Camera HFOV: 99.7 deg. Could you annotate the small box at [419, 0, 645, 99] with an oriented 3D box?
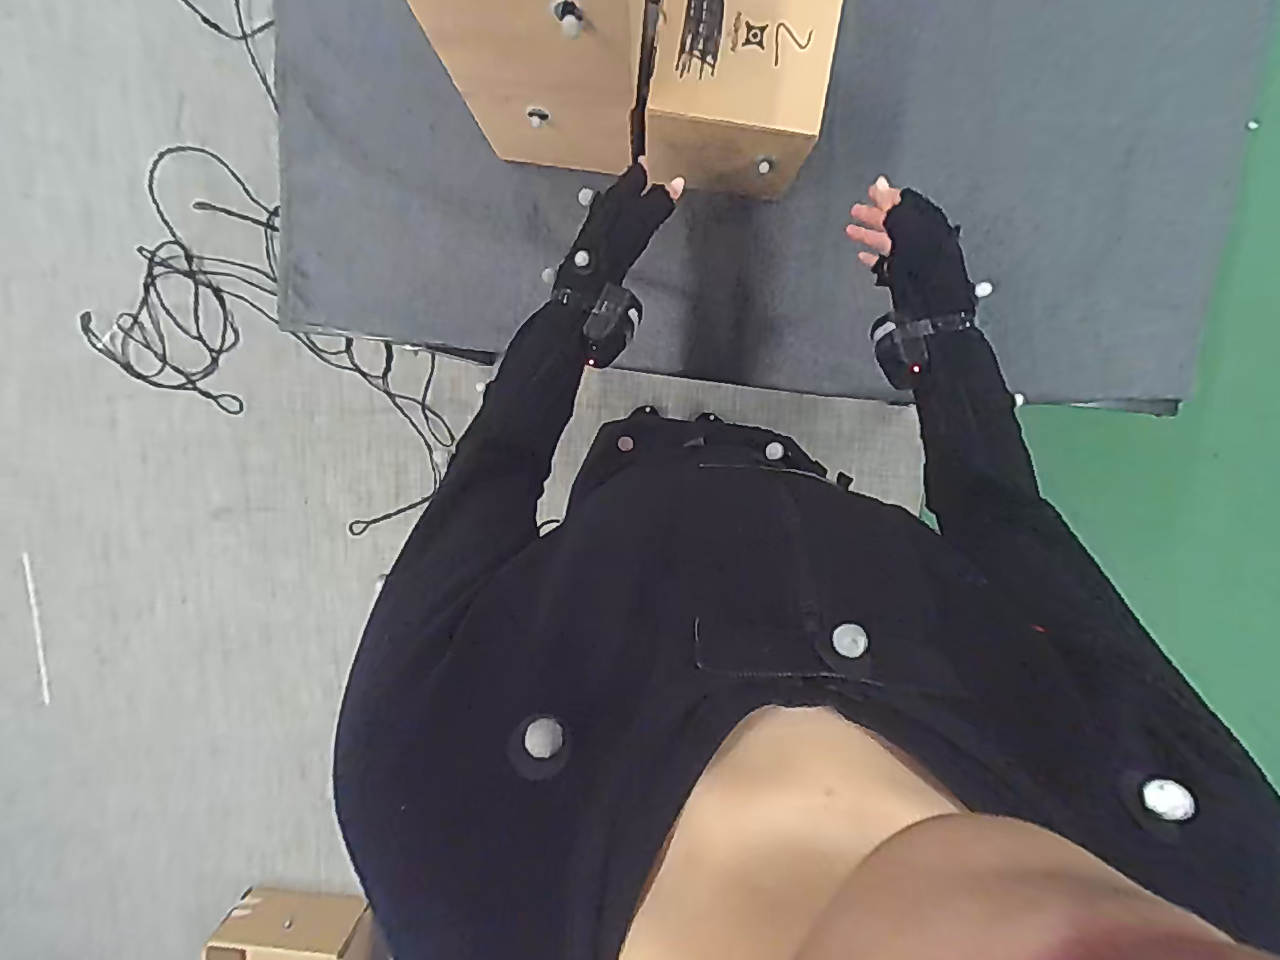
[{"bbox_3d":[-0.080,-0.449,0.443,0.179,0.176,0.168,6,97,0],"label":"small box"}]
